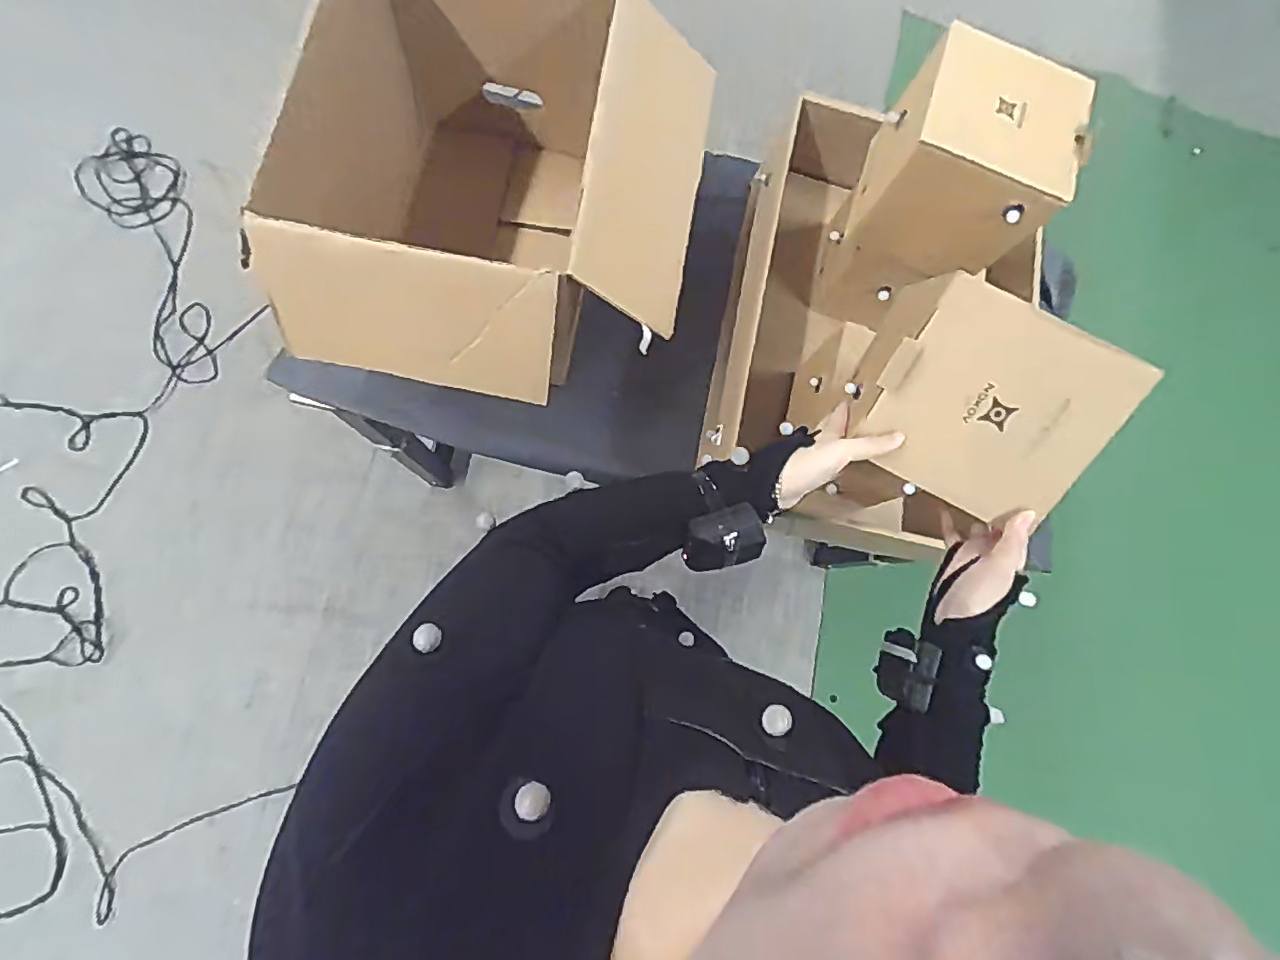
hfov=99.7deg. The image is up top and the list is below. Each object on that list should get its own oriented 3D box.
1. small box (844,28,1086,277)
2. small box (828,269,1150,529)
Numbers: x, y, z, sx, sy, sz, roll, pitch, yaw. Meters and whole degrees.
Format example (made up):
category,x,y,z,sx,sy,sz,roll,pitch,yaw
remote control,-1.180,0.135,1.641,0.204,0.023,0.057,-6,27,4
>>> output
category,x,y,z,sx,sy,sz,roll,pitch,yaw
small box,0.378,-0.377,0.656,0.179,0.176,0.168,20,79,-4
small box,0.307,-0.084,0.529,0.179,0.176,0.168,27,111,3
